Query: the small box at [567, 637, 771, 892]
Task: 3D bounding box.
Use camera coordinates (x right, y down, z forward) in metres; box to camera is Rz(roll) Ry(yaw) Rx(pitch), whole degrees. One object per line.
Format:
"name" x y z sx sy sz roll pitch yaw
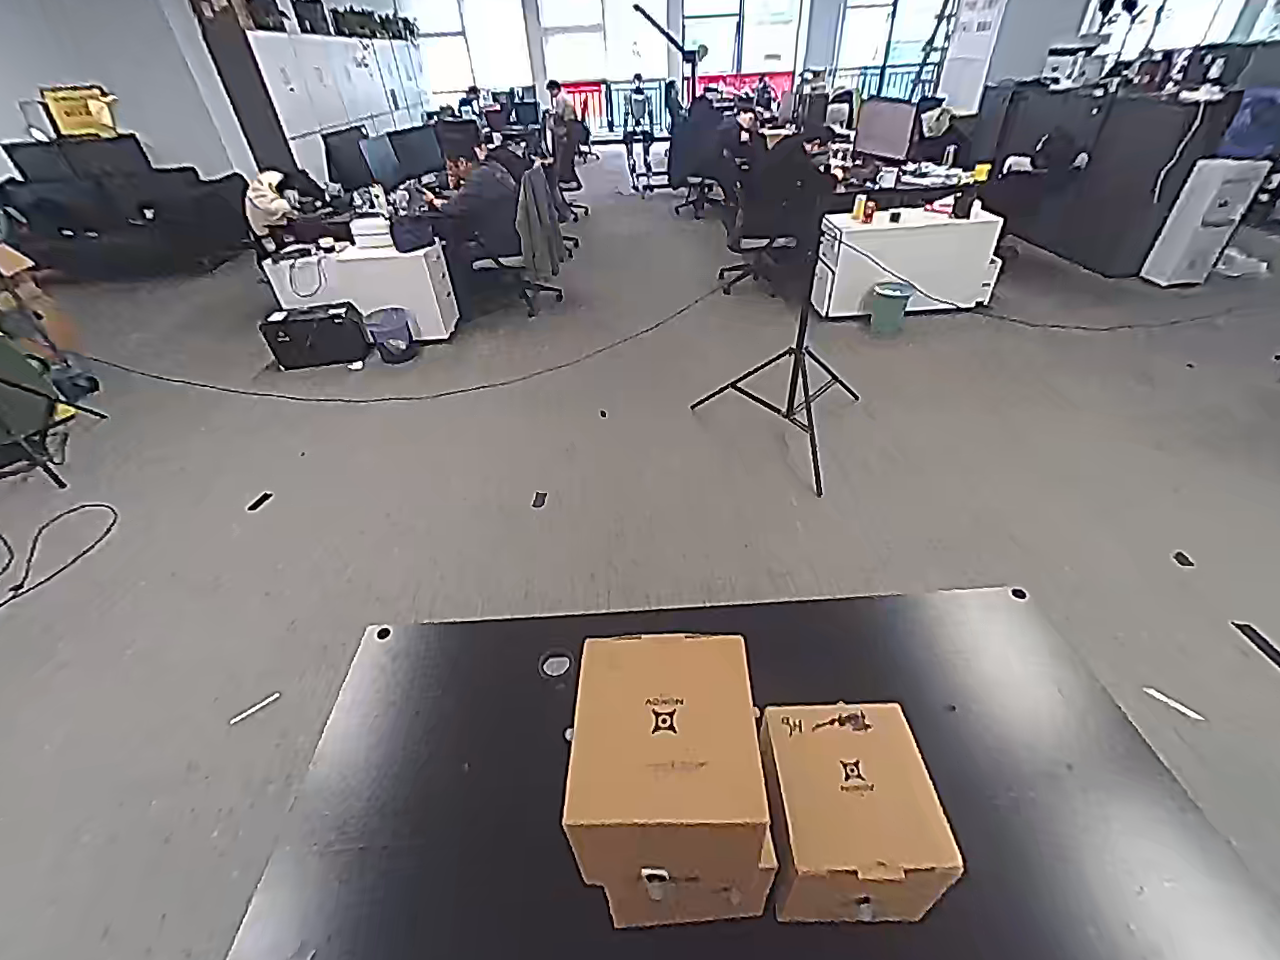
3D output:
"small box" 0.029 0.281 0.541 0.168 0.176 0.179 -3 39 3
